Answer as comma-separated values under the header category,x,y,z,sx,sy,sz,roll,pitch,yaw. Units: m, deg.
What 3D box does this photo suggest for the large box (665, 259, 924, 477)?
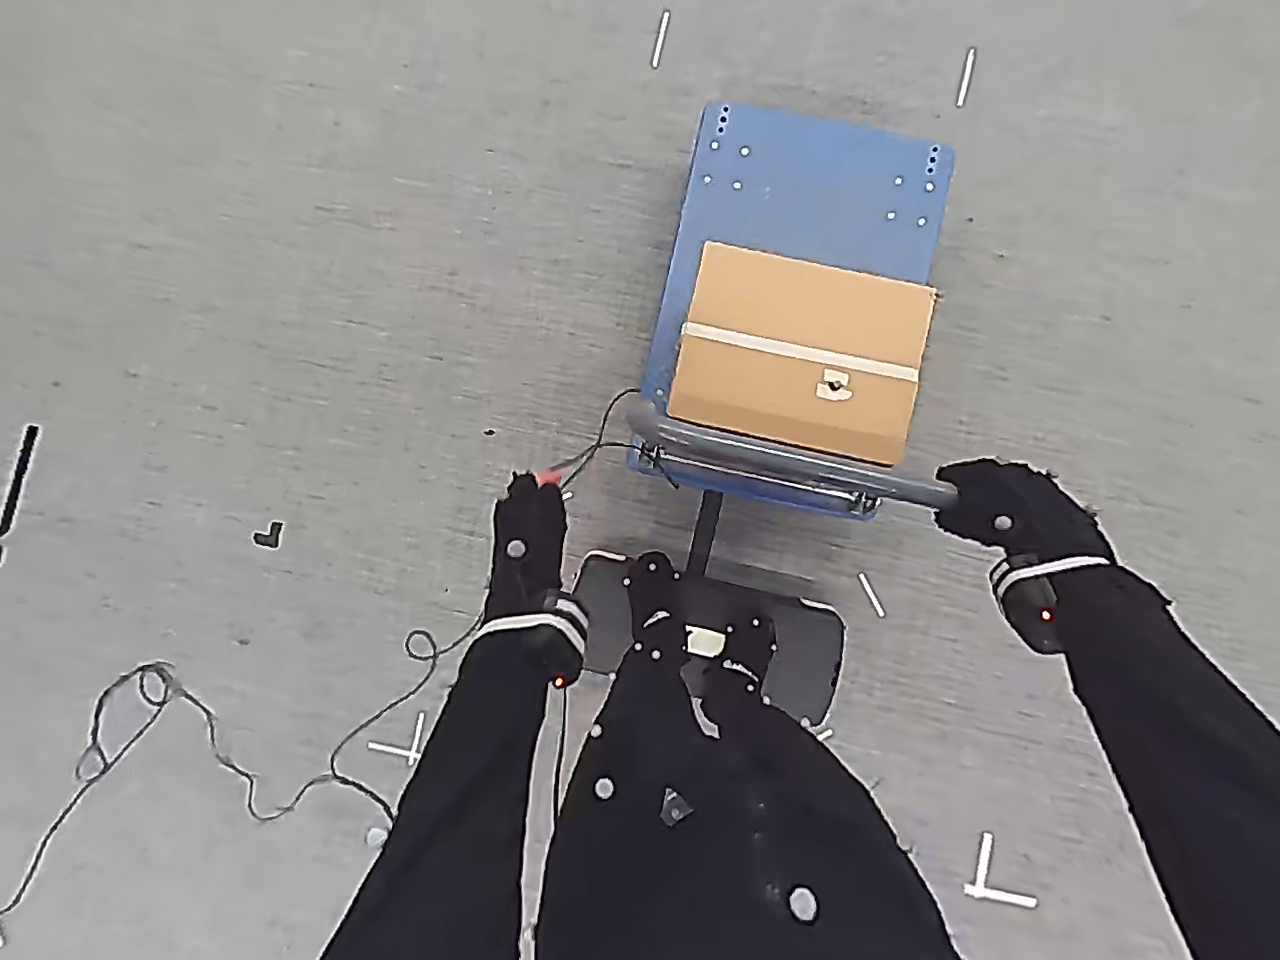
category,x,y,z,sx,sy,sz,roll,pitch,yaw
large box,0.275,-0.199,1.093,0.408,0.320,0.320,12,89,2
